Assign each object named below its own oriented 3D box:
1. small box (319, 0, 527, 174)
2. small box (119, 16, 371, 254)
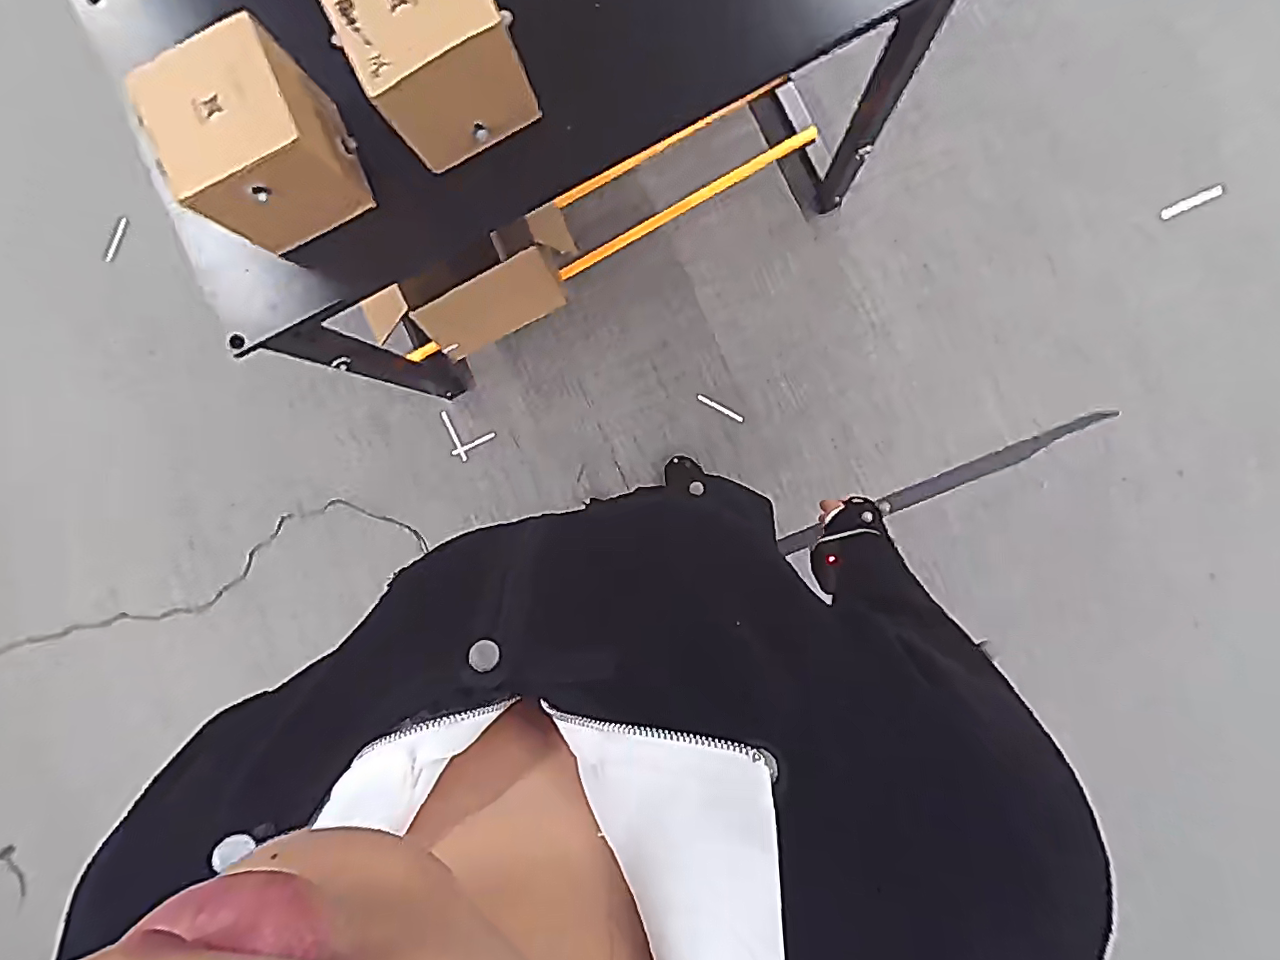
[{"bbox_3d":[-0.260,-0.538,0.687,0.179,0.176,0.168,-26,89,4],"label":"small box"},{"bbox_3d":[-0.499,-0.430,0.709,0.179,0.176,0.168,-25,90,4],"label":"small box"}]
